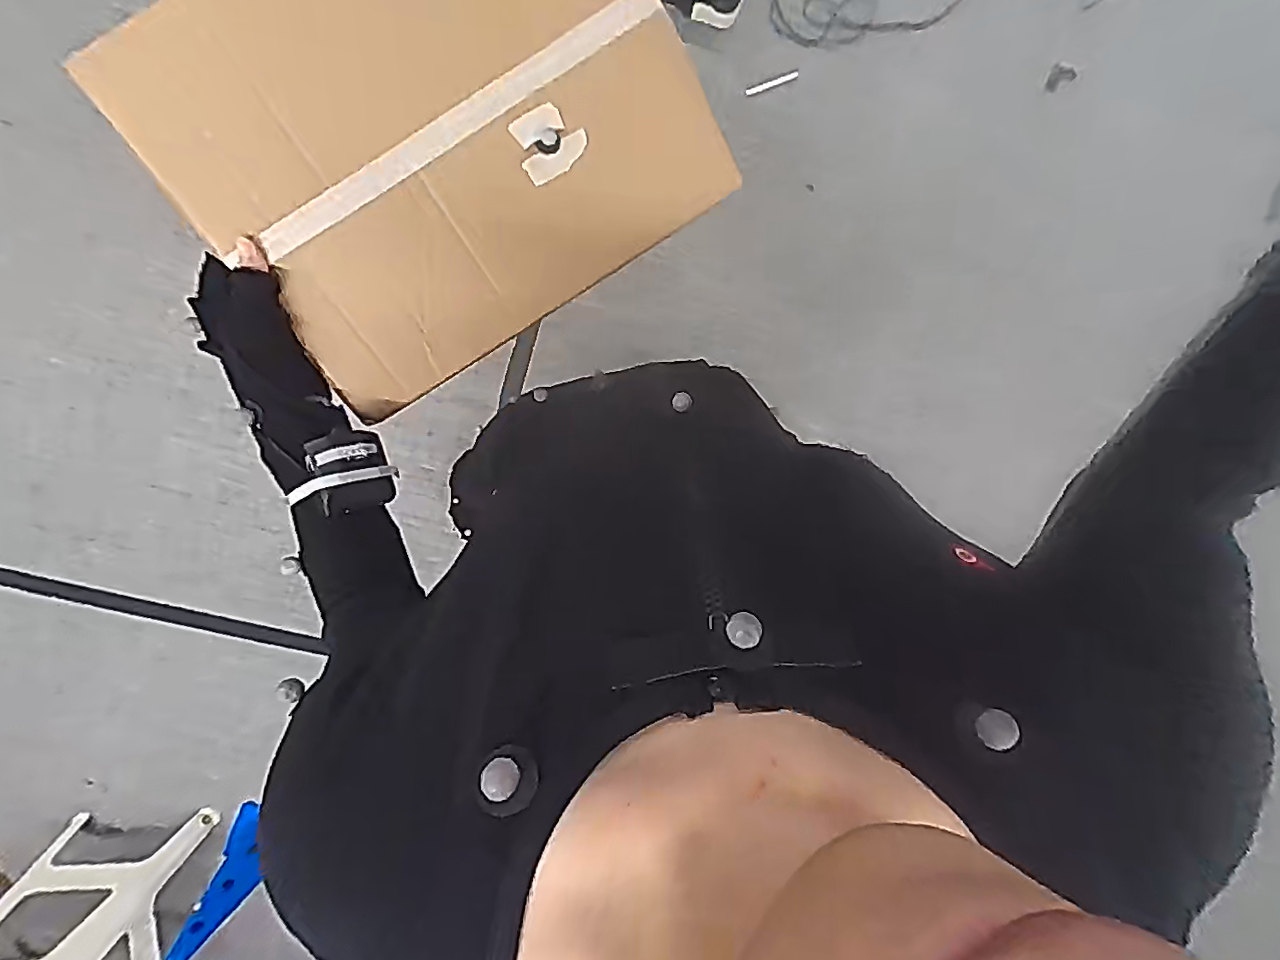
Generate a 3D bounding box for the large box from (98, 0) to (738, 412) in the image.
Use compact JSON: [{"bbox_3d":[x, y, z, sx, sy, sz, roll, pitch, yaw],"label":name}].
[{"bbox_3d":[-0.180,-0.327,0.577,0.408,0.320,0.320,-34,111,-1],"label":"large box"}]
